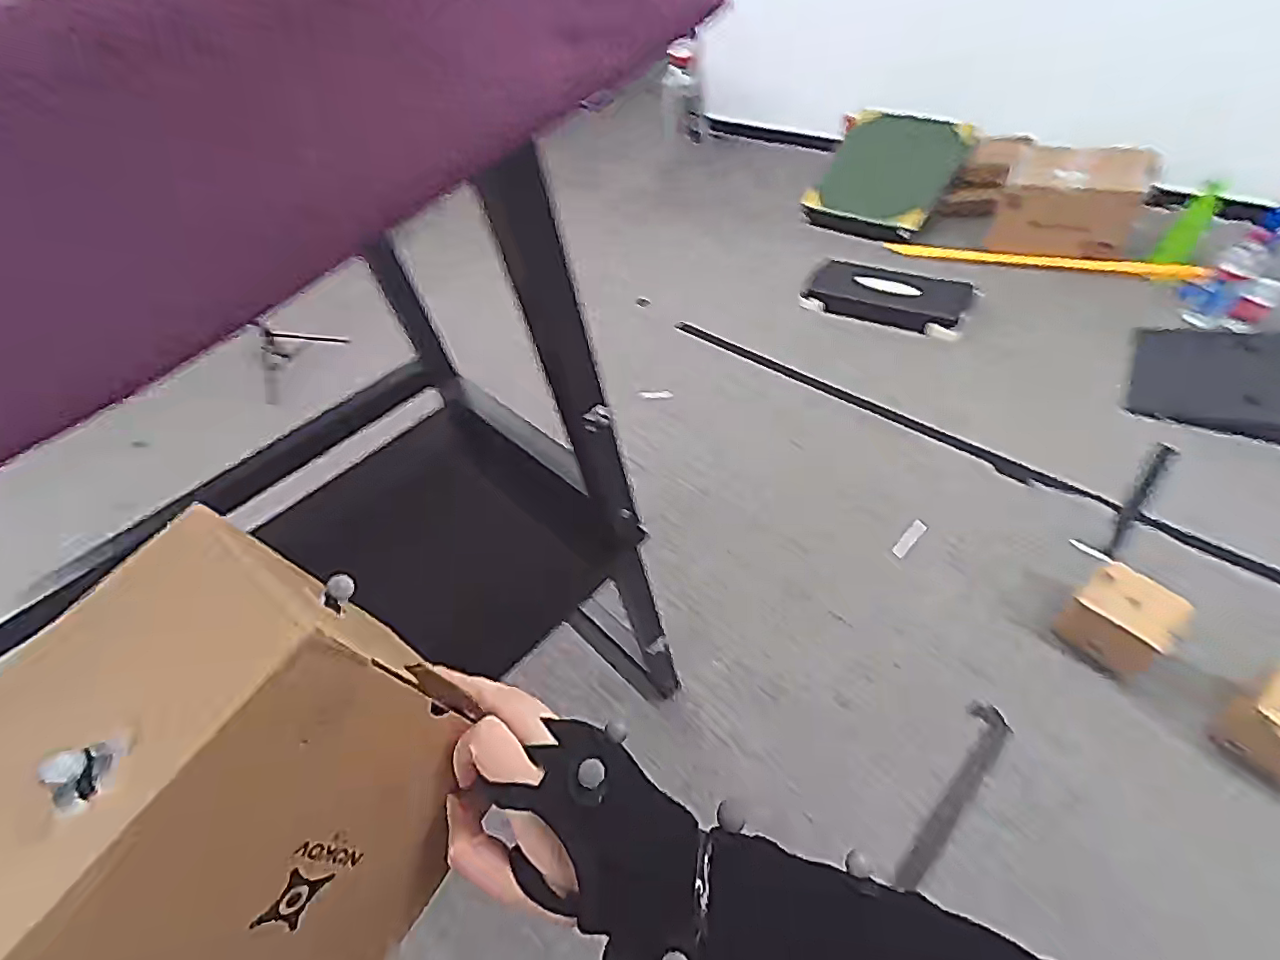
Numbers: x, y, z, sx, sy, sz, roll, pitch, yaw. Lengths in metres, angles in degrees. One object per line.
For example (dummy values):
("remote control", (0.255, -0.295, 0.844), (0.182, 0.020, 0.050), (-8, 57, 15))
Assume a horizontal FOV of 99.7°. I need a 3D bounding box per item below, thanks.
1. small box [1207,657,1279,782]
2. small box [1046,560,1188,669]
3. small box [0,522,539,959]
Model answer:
("small box", (1.369, 0.513, 1.139), (0.179, 0.176, 0.168), (-35, 53, -19))
("small box", (1.156, 0.338, 1.325), (0.168, 0.176, 0.179), (-36, 54, -19))
("small box", (-0.191, 0.147, 0.270), (0.176, 0.168, 0.179), (18, 58, 38))
